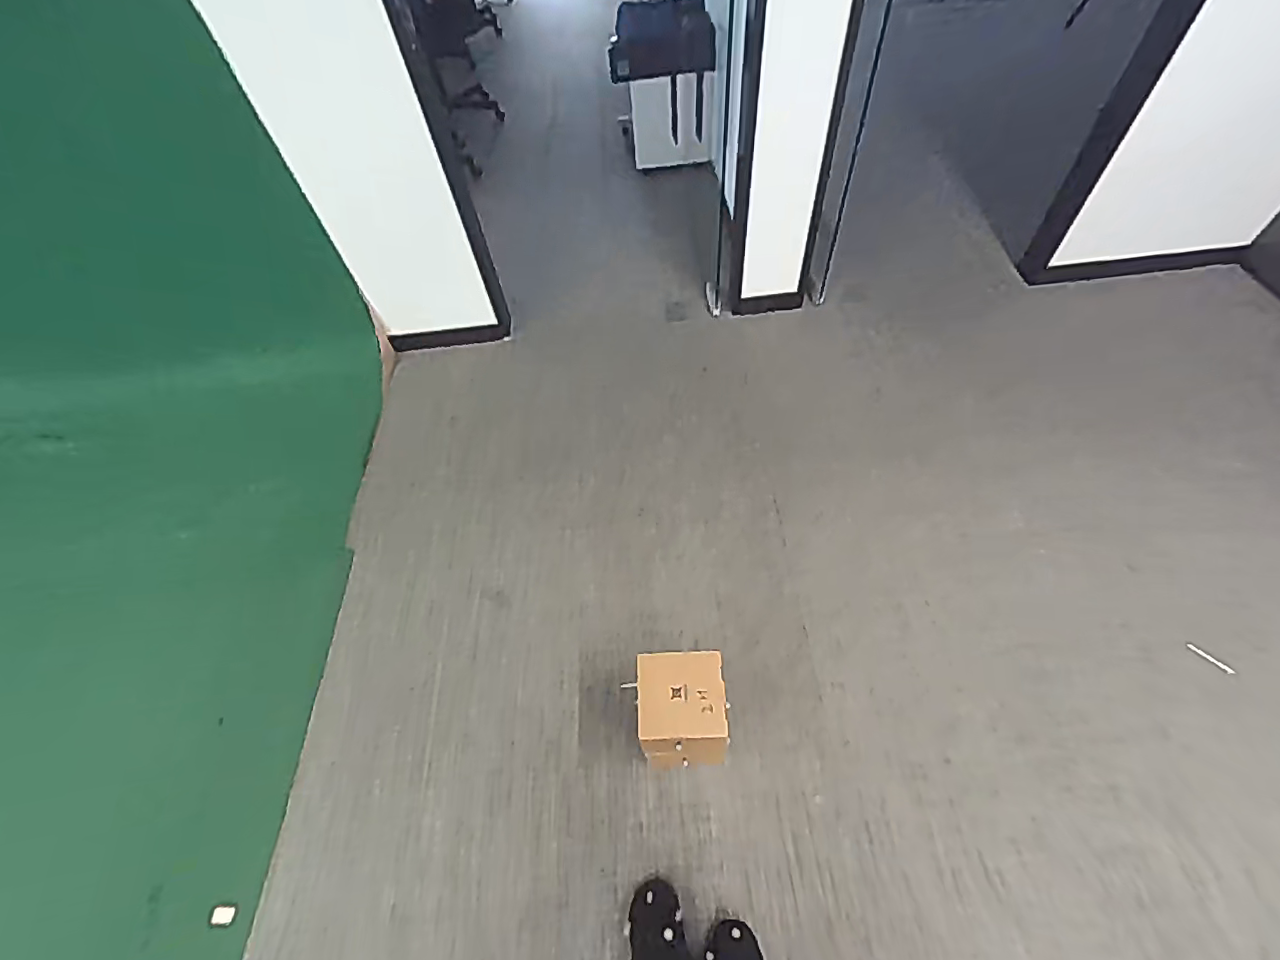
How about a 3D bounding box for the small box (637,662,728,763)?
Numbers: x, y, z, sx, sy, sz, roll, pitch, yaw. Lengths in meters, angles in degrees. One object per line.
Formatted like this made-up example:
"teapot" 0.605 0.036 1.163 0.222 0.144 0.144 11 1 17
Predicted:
"small box" 0.089 0.493 1.137 0.179 0.176 0.168 -3 55 4
